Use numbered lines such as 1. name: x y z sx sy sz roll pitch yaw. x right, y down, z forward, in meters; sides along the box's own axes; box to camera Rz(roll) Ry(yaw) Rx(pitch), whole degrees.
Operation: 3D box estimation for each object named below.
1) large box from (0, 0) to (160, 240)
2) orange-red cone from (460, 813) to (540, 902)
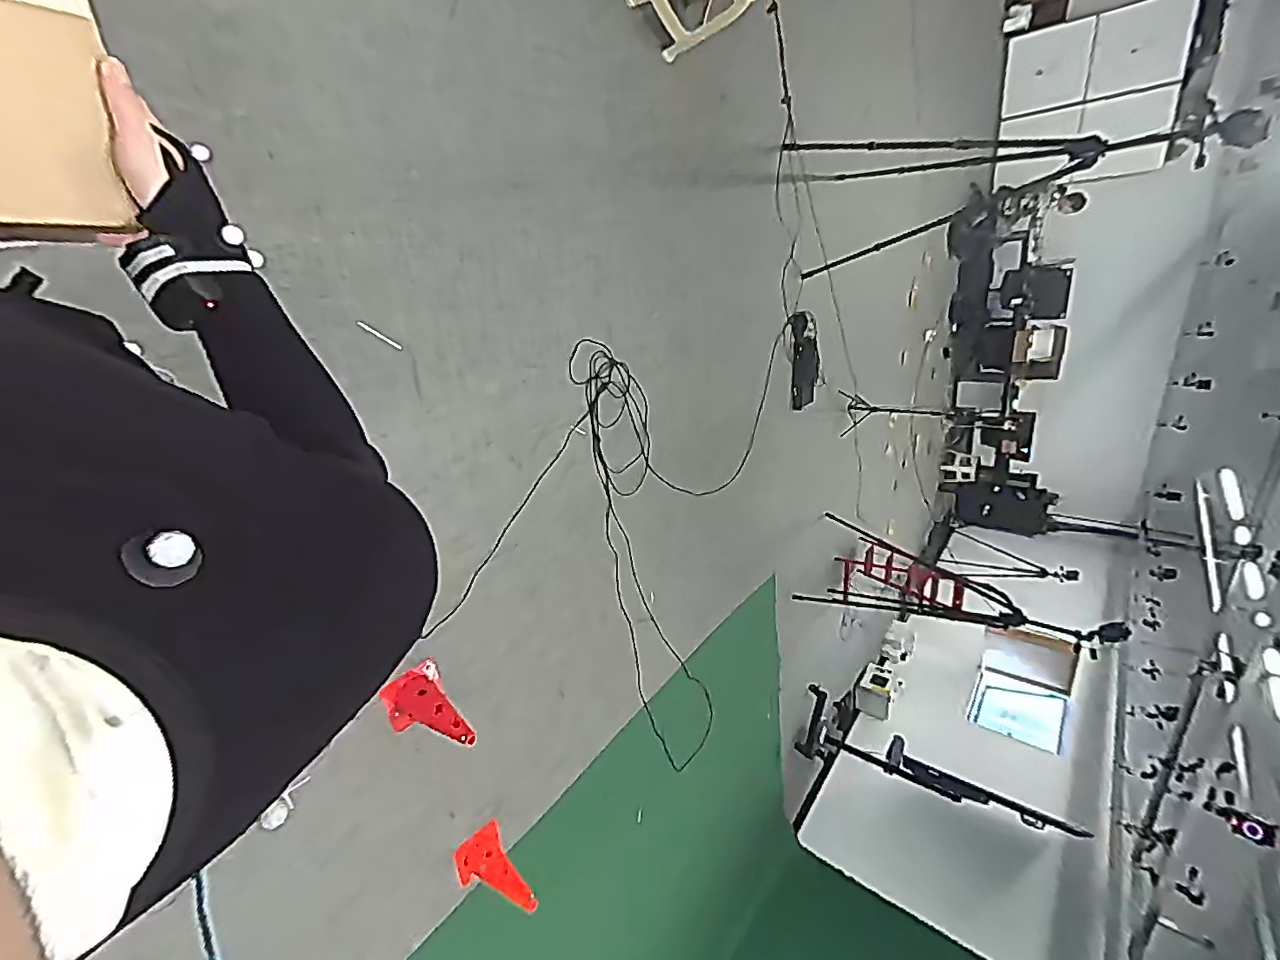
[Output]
1. large box: -0.677 -0.347 0.389 0.408 0.320 0.320 -23 121 -43
2. orange-red cone: -0.529 1.554 2.161 0.199 0.360 0.198 -24 118 -47
